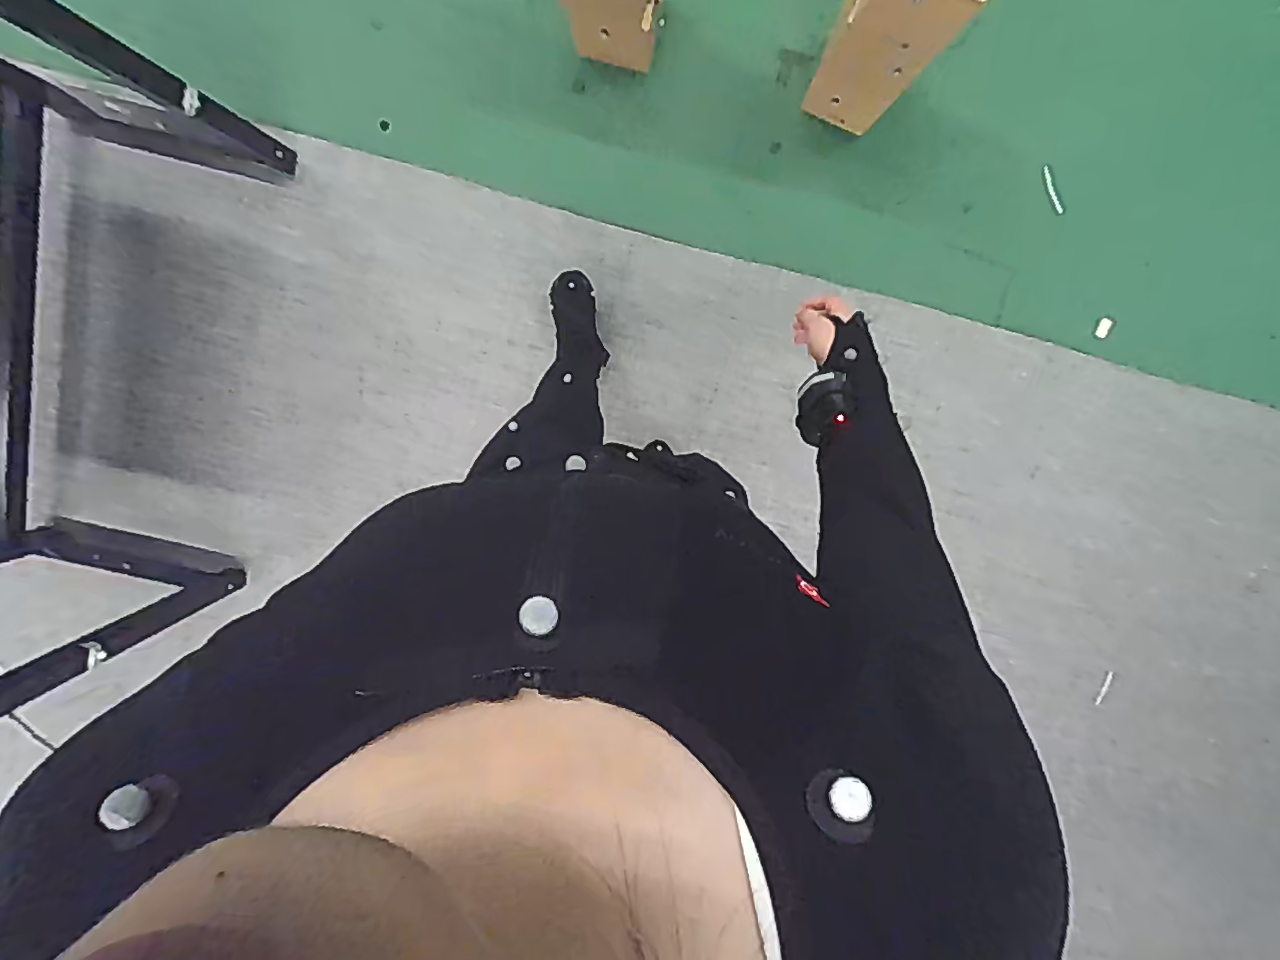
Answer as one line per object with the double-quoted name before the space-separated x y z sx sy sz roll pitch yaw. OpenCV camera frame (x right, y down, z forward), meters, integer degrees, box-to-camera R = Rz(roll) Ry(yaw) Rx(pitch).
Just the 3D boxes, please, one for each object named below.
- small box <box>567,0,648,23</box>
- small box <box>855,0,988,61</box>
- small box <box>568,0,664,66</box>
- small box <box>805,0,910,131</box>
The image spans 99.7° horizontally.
"small box" -0.059 -1.025 1.026 0.179 0.176 0.168 16 102 -3
"small box" 0.485 -0.857 0.894 0.168 0.176 0.179 17 100 -5
"small box" -0.047 -1.055 1.186 0.179 0.176 0.168 14 102 -3
"small box" 0.492 -0.931 1.215 0.168 0.176 0.179 22 100 -5
